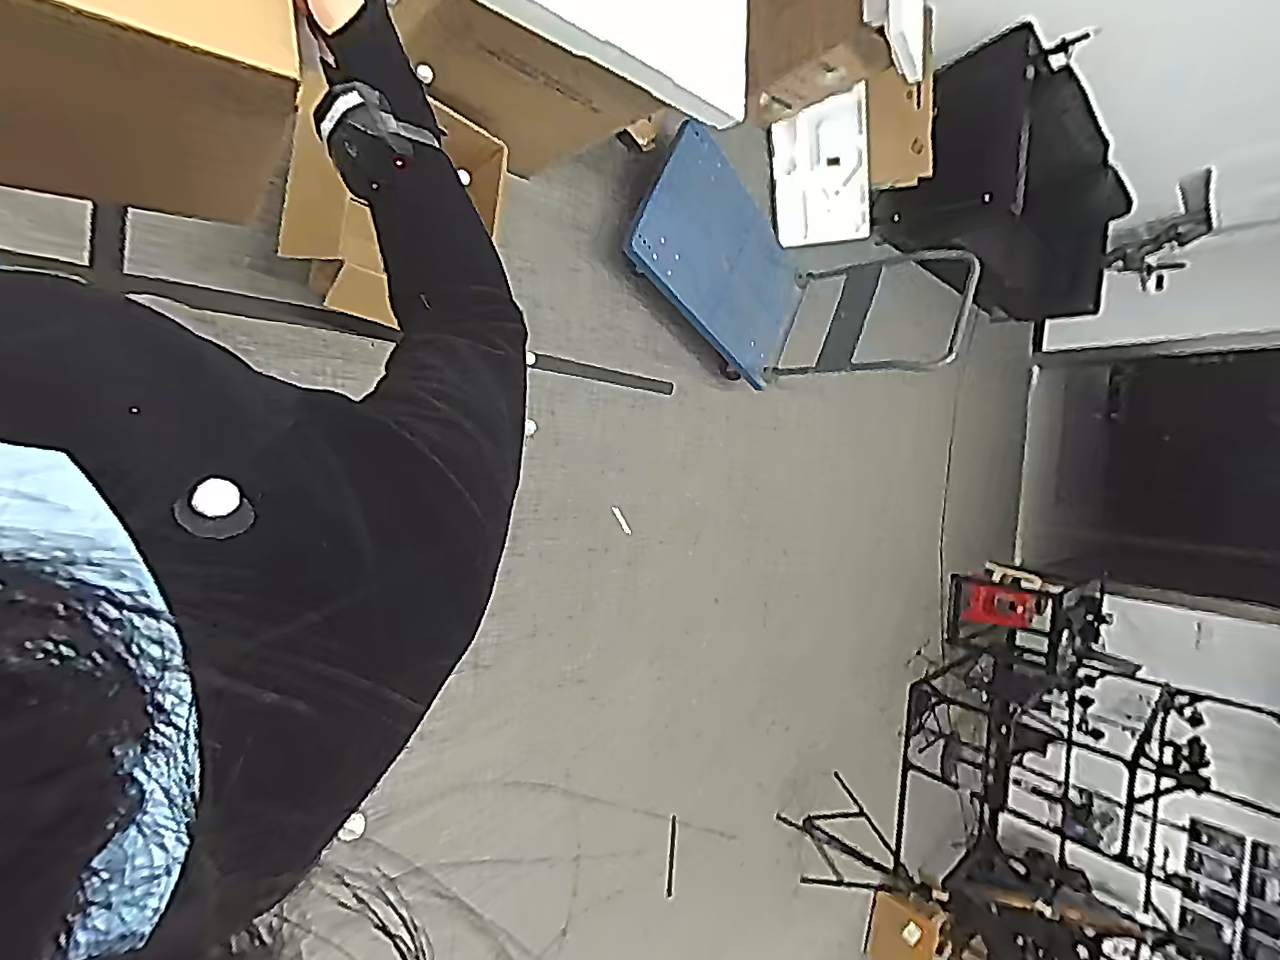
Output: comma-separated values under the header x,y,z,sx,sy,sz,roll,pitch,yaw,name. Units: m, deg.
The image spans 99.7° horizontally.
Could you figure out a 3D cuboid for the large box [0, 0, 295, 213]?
x,y,z,sx,sy,sz,roll,pitch,yaw,name
-0.531,-0.435,0.393,0.408,0.320,0.320,-10,95,-42,large box
